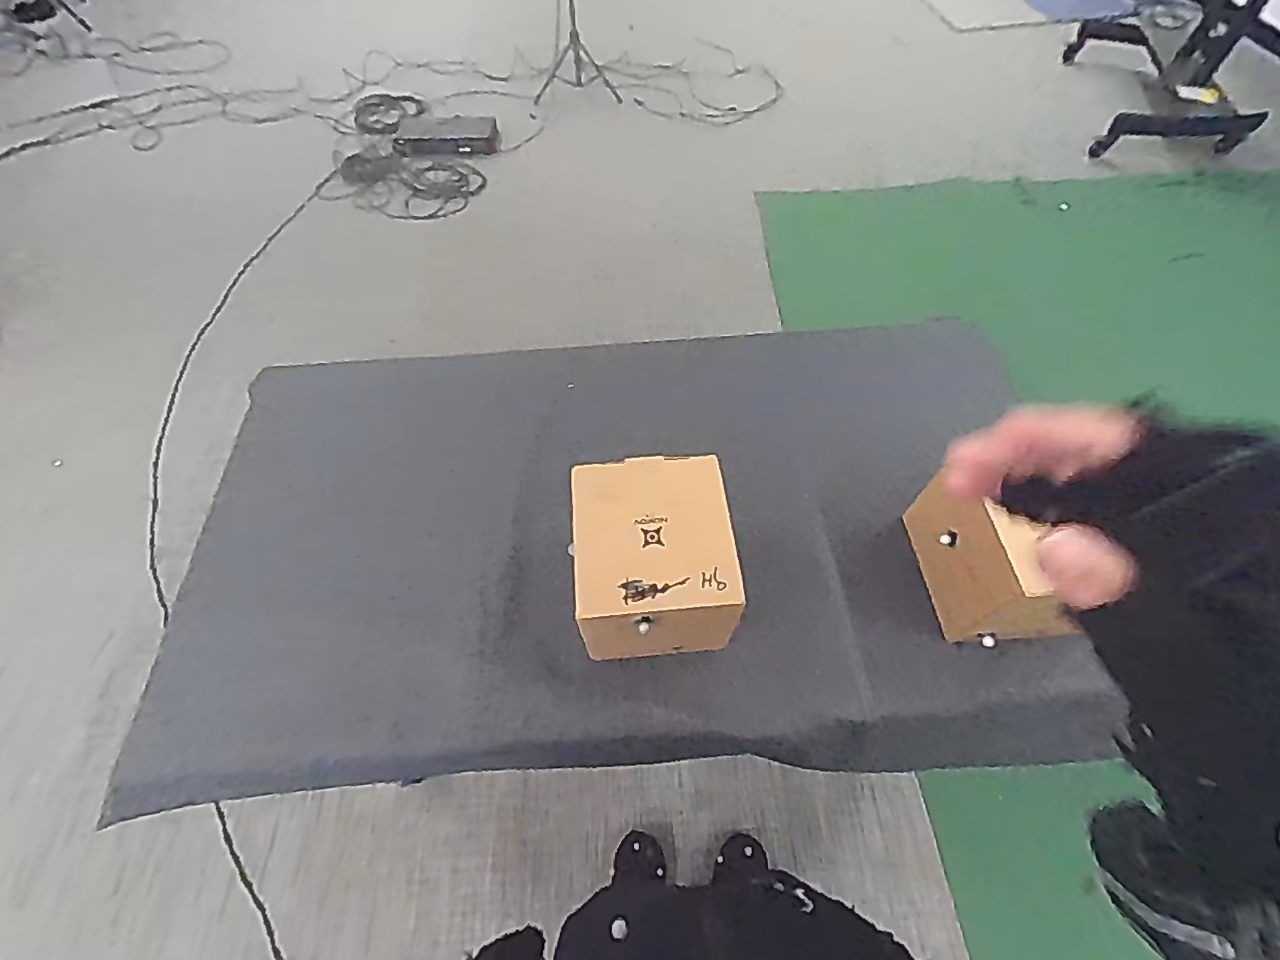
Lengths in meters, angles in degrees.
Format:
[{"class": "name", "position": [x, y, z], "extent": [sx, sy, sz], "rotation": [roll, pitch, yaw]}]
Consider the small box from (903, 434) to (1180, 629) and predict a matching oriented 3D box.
[{"class": "small box", "position": [0.442, 0.069, 0.635], "extent": [0.168, 0.176, 0.179], "rotation": [-4, 58, 0]}]

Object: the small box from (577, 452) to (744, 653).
[{"class": "small box", "position": [0.016, 0.089, 0.635], "extent": [0.168, 0.176, 0.179], "rotation": [-5, 58, -1]}]
